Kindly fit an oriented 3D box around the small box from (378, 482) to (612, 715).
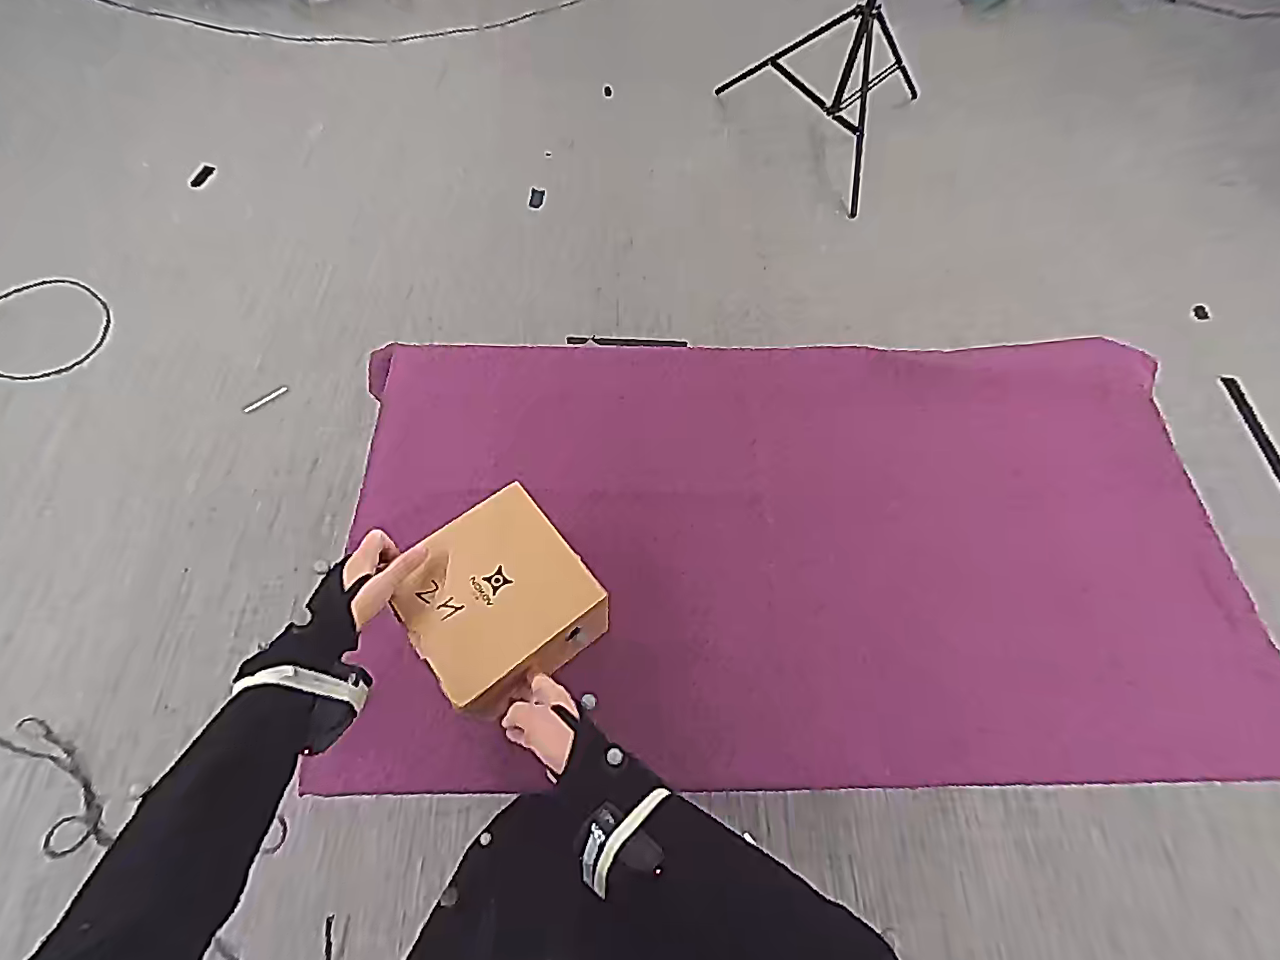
[{"bbox_3d":[-0.151,0.140,0.613,0.179,0.176,0.168,-38,71,-19],"label":"small box"}]
